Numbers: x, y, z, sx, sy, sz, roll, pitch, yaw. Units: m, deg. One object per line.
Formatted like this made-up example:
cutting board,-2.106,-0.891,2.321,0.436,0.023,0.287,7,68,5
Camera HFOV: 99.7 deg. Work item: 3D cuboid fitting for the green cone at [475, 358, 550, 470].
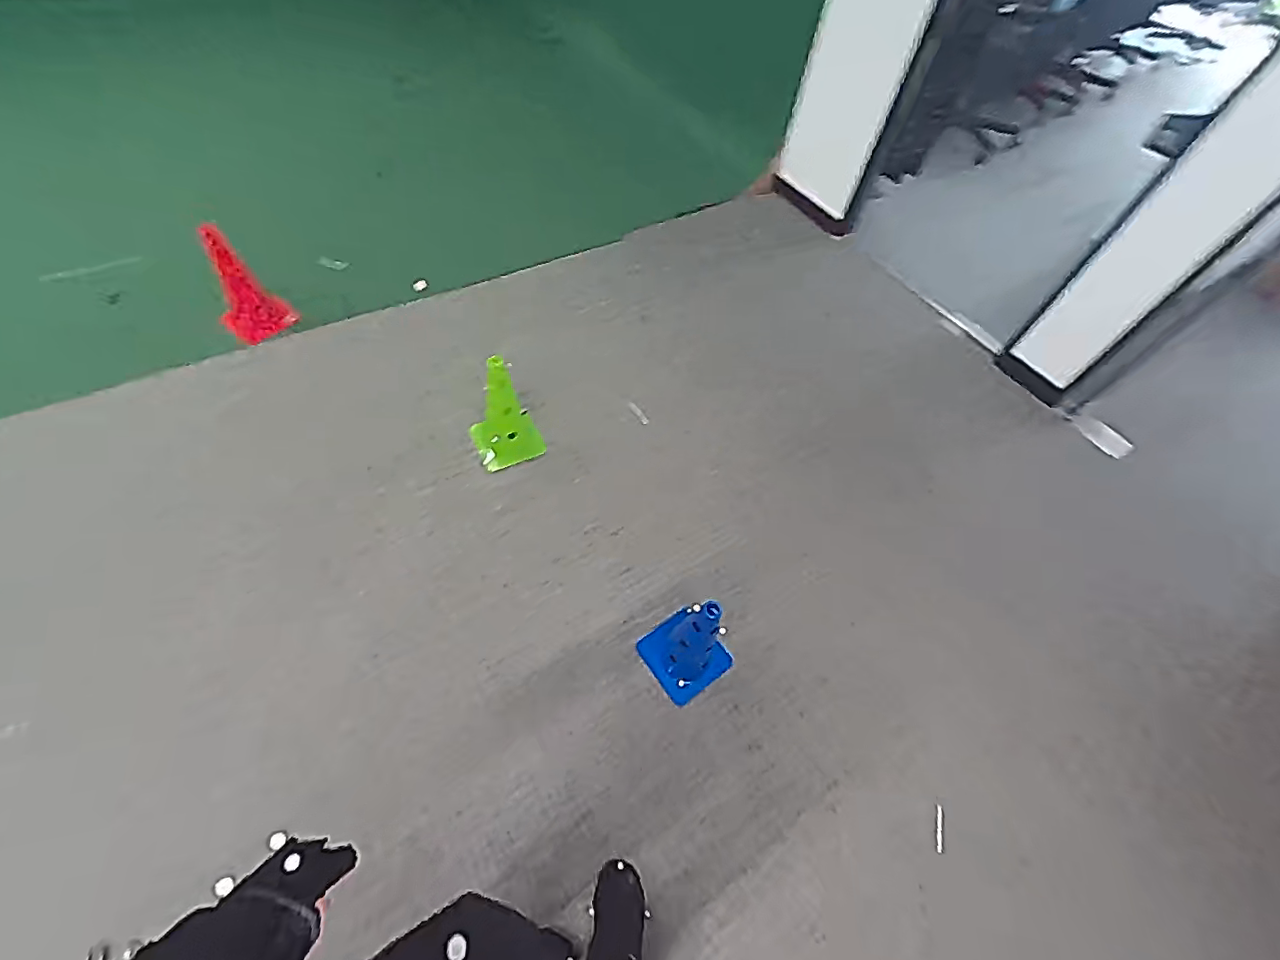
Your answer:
green cone,-0.403,-0.227,1.635,0.200,0.368,0.202,-22,62,-20
